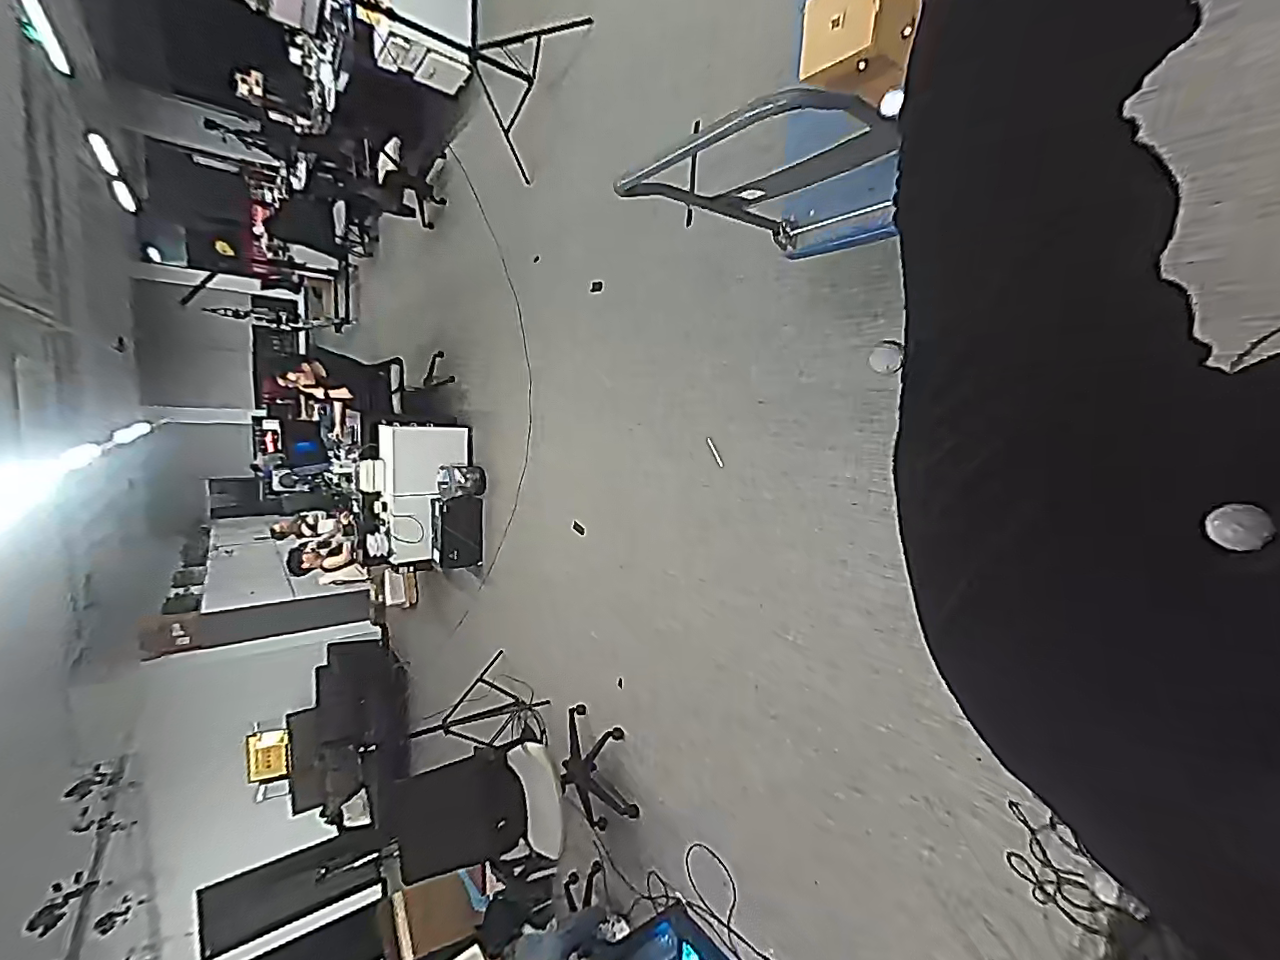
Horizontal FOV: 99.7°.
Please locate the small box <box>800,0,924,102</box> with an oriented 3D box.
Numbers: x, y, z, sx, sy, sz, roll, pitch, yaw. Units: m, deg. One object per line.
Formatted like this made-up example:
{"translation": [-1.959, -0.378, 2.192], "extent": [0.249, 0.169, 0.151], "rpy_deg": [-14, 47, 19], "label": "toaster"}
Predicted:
{"translation": [0.473, -0.953, 1.158], "extent": [0.179, 0.176, 0.168], "rpy_deg": [13, 102, 50], "label": "small box"}
